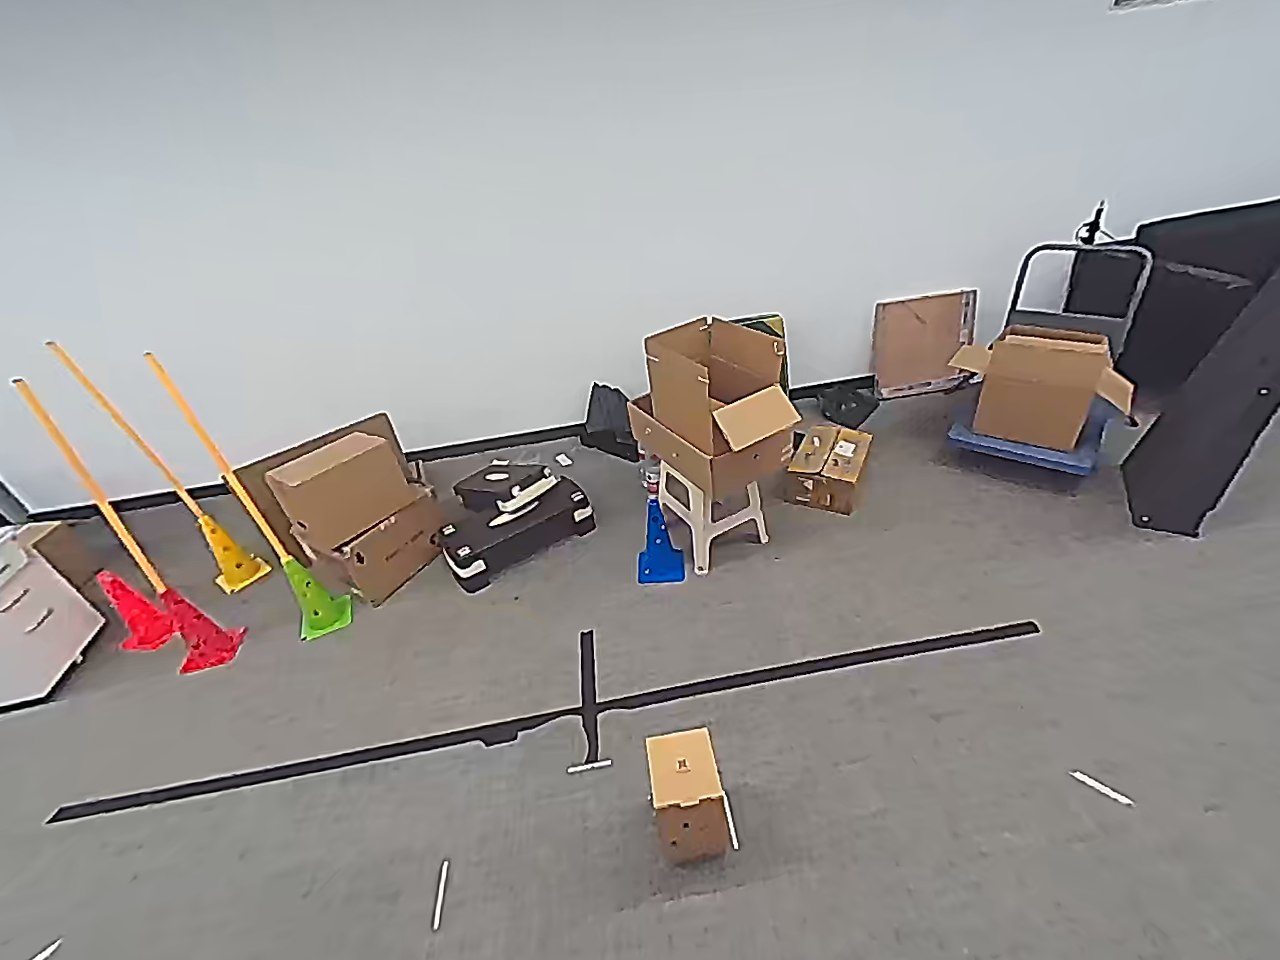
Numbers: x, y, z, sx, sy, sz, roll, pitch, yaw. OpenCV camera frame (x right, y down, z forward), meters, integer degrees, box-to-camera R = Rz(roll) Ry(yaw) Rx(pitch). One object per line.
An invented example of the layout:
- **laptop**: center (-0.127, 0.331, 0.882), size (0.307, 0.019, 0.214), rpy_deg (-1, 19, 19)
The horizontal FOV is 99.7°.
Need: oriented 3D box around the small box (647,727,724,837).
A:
- **small box**: center (0.113, 0.764, 1.369), size (0.168, 0.176, 0.179), rpy_deg (-8, 34, -3)
